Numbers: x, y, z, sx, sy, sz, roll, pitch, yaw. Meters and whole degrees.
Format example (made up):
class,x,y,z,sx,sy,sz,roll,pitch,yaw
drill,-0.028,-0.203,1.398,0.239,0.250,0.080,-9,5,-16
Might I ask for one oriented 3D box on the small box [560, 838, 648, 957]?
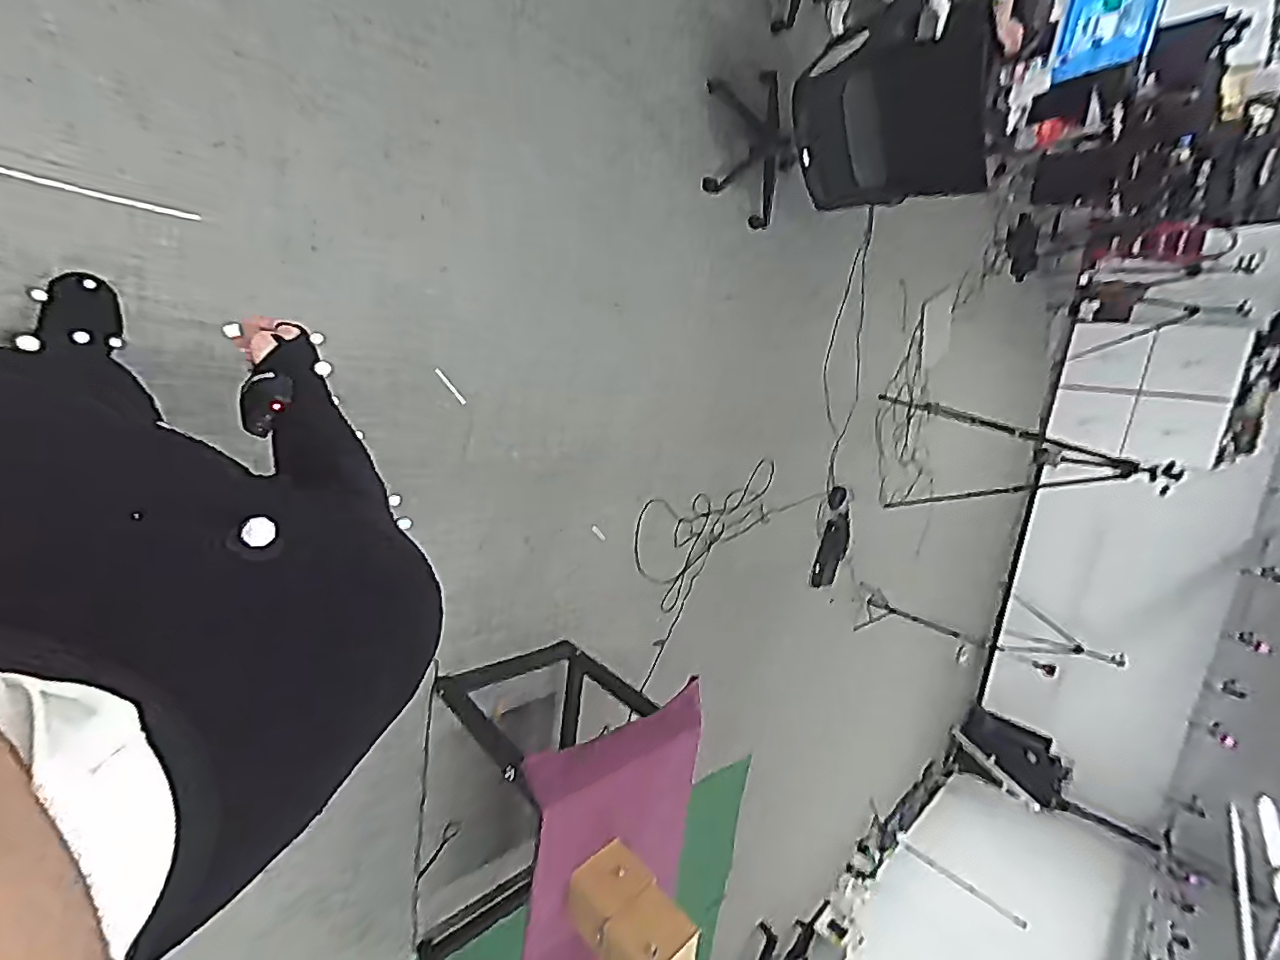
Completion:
class,x,y,z,sx,sy,sz,roll,pitch,yaw
small box,-0.103,1.158,1.511,0.179,0.176,0.168,-10,109,-44

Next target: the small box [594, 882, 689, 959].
class,x,y,z,sx,sy,sz,roll,pitch,yaw
small box,0.000,1.198,1.385,0.179,0.176,0.168,-8,109,-44
